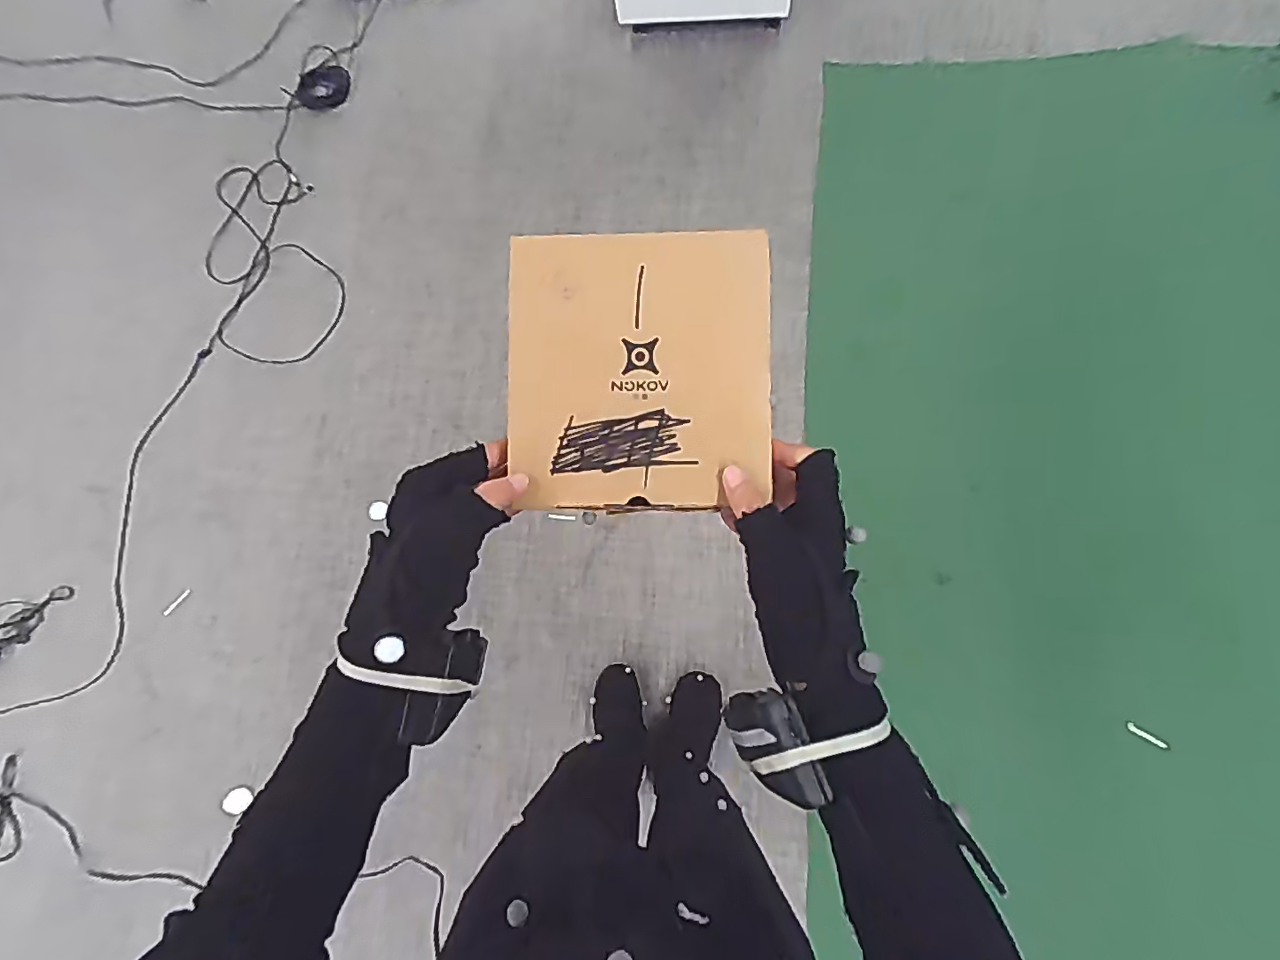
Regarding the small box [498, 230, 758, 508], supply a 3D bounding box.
[{"bbox_3d":[-0.003,-0.068,0.421,0.168,0.176,0.179,0,87,3],"label":"small box"}]
